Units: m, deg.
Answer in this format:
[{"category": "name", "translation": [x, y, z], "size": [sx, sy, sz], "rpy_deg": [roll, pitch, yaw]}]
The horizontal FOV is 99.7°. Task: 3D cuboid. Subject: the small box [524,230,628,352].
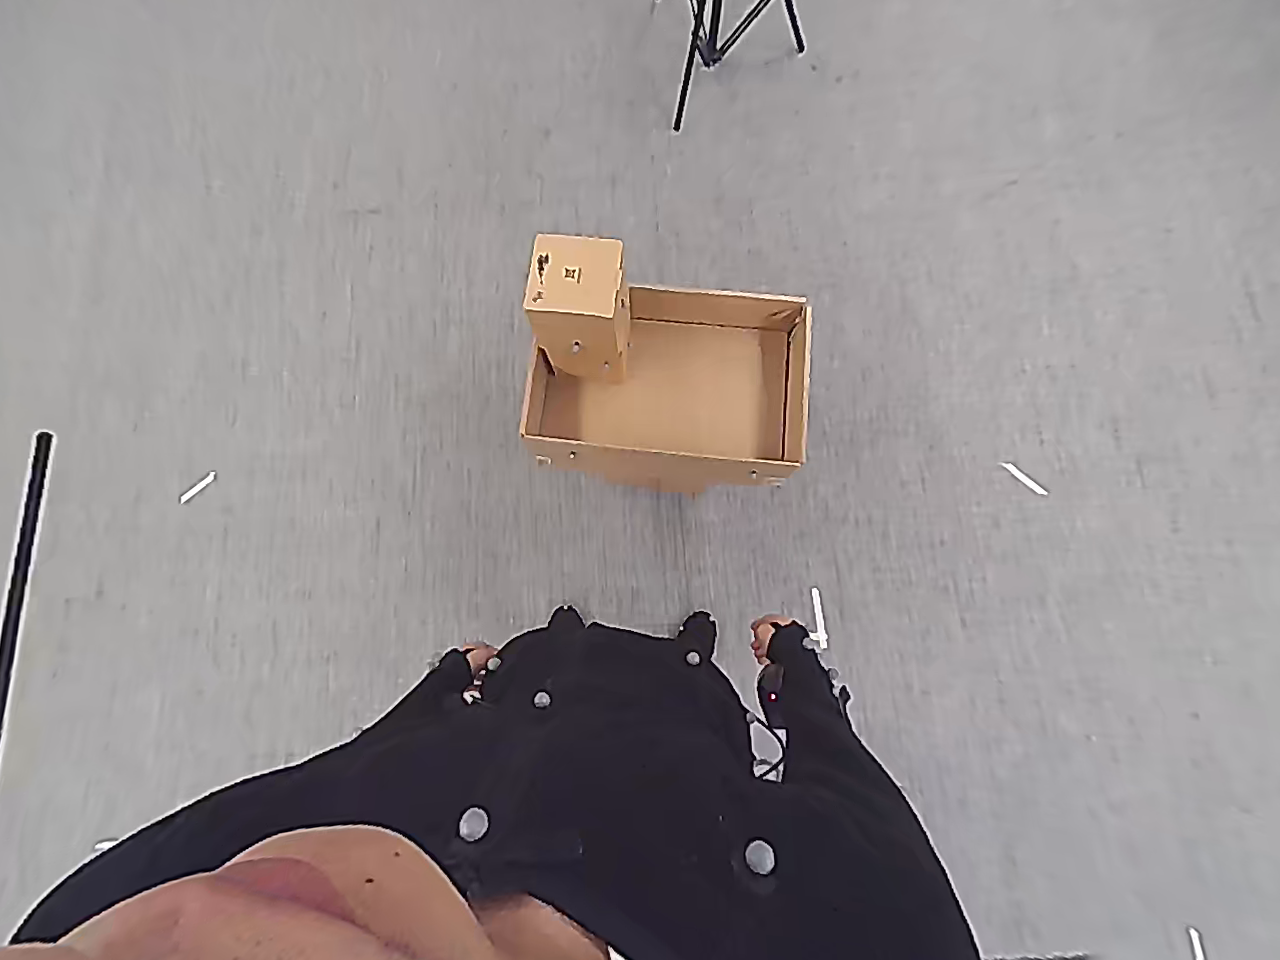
[{"category": "small box", "translation": [-0.119, -0.373, 1.095], "size": [0.179, 0.176, 0.168], "rpy_deg": [7, 78, 2]}]
